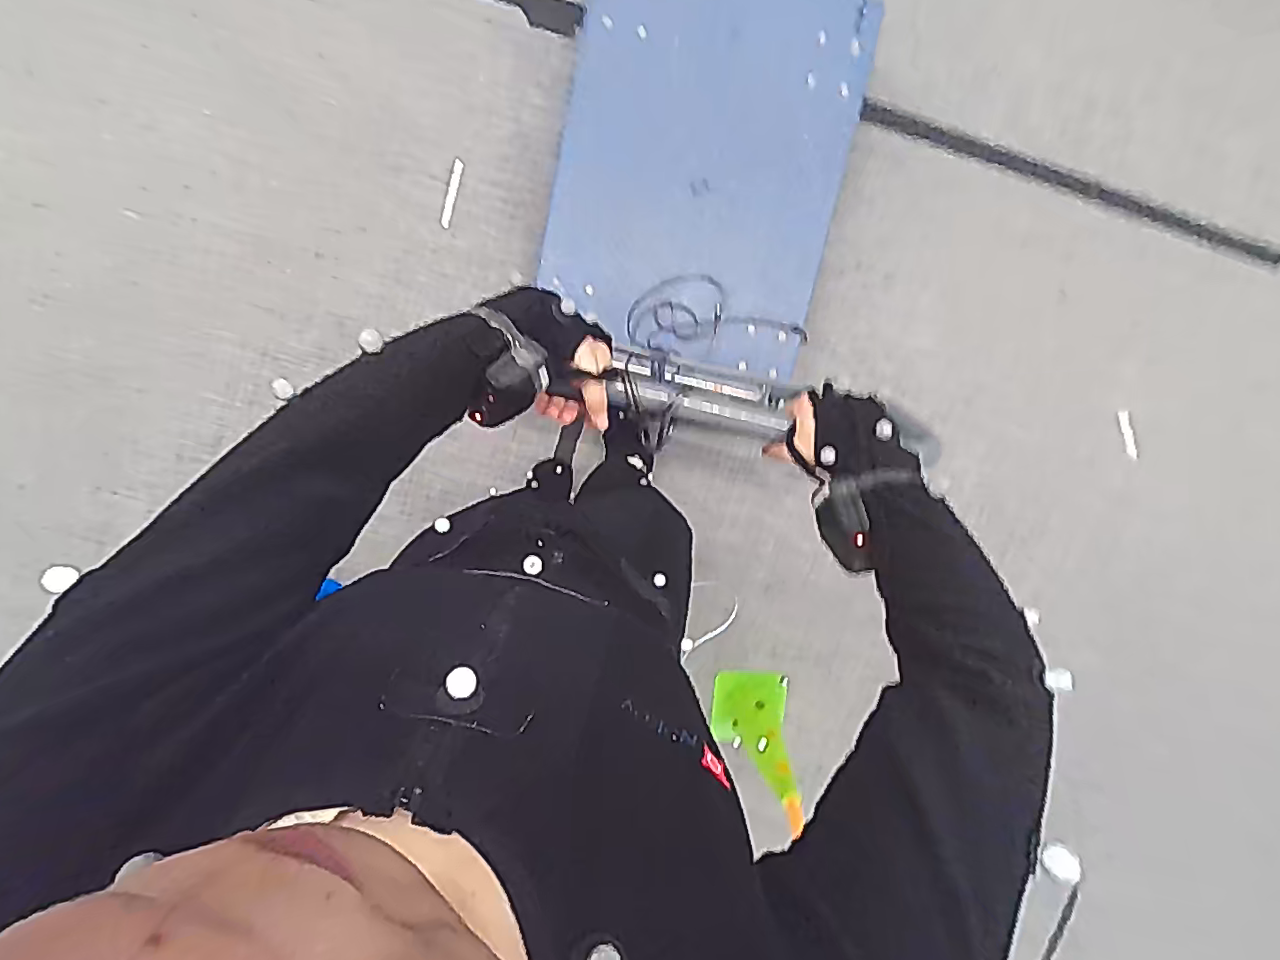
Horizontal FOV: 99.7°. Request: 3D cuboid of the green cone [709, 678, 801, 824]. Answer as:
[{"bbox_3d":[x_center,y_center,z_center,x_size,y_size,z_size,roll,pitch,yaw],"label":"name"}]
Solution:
[{"bbox_3d":[0.299,0.654,1.283,0.200,0.368,0.202,3,99,-3],"label":"green cone"}]
